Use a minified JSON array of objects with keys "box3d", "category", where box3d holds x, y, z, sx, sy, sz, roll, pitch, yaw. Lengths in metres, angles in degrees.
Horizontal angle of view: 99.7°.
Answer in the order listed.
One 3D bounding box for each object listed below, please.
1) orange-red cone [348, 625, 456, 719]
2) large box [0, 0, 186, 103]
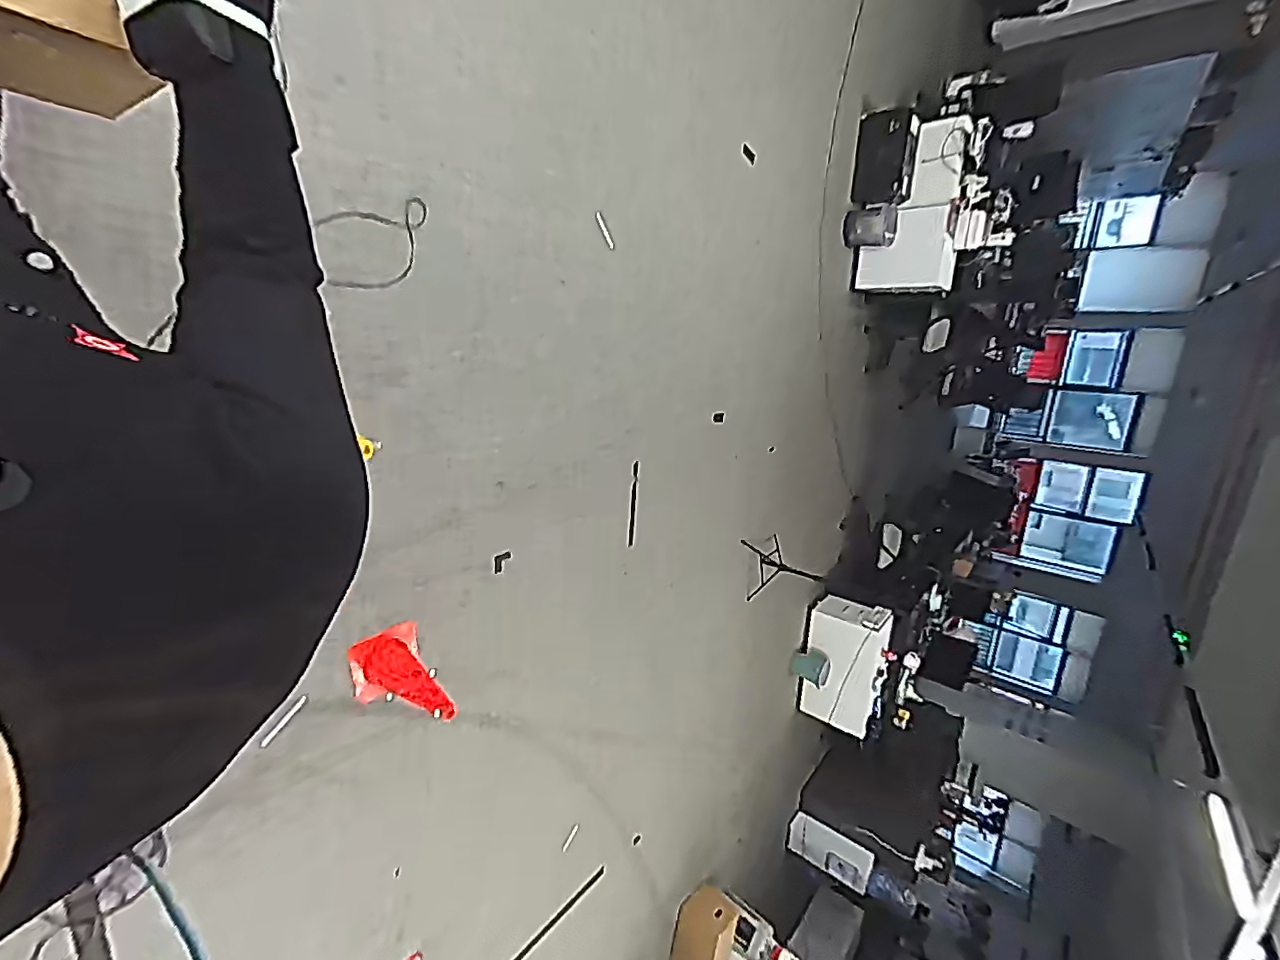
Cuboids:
[{"box3d":[-0.639,0.582,1.528,0.198,0.360,0.199,-18,114,-49],"category":"orange-red cone"},{"box3d":[-0.552,-0.470,0.289,0.408,0.320,0.320,-11,116,-50],"category":"large box"}]
